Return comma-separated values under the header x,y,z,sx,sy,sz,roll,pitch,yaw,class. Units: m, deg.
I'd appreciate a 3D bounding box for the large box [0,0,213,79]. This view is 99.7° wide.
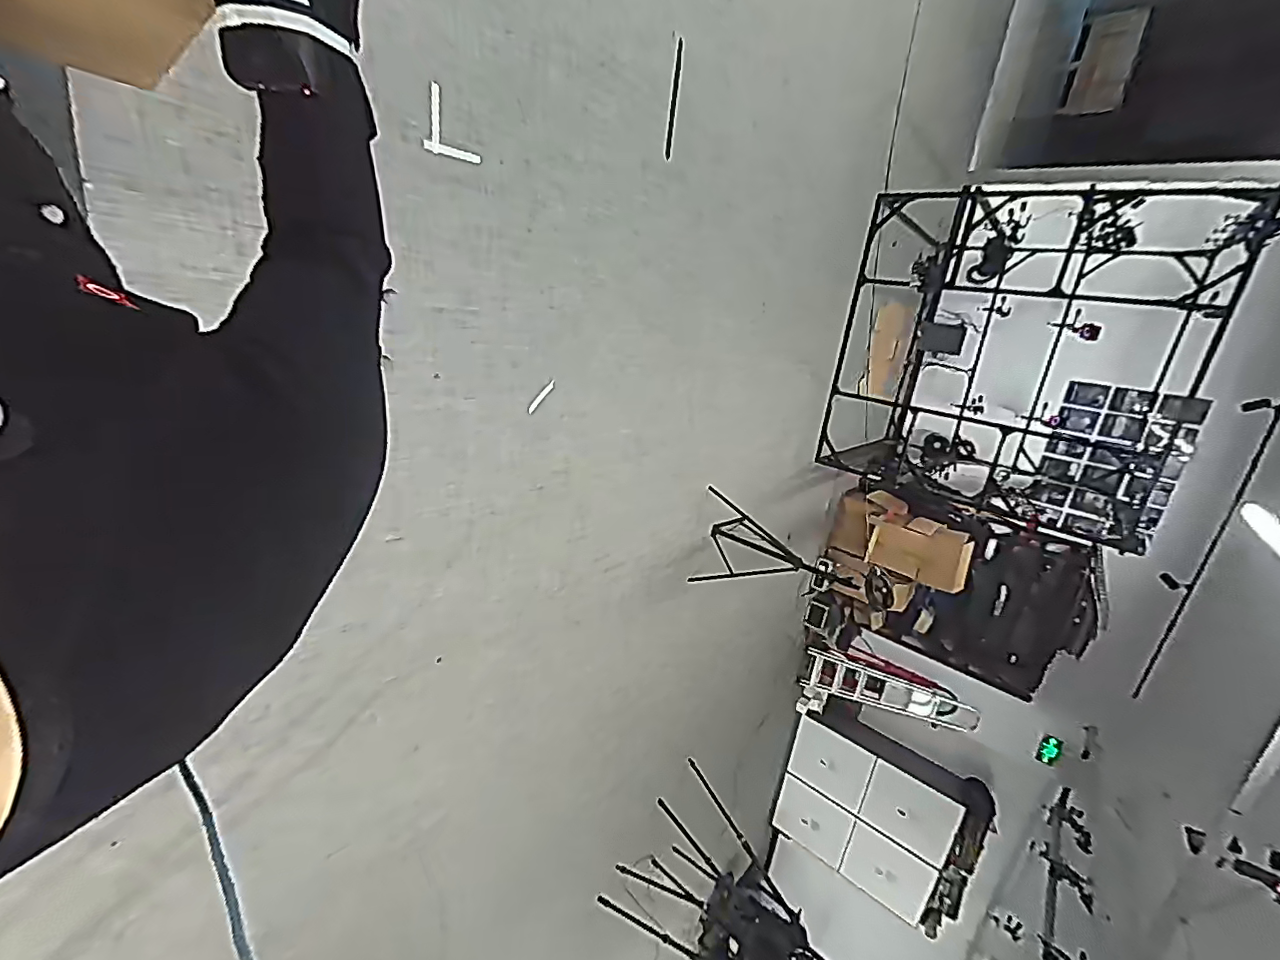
x,y,z,sx,sy,sz,roll,pitch,yaw,class
-0.469,-0.475,0.244,0.408,0.320,0.320,-13,109,-51,large box
